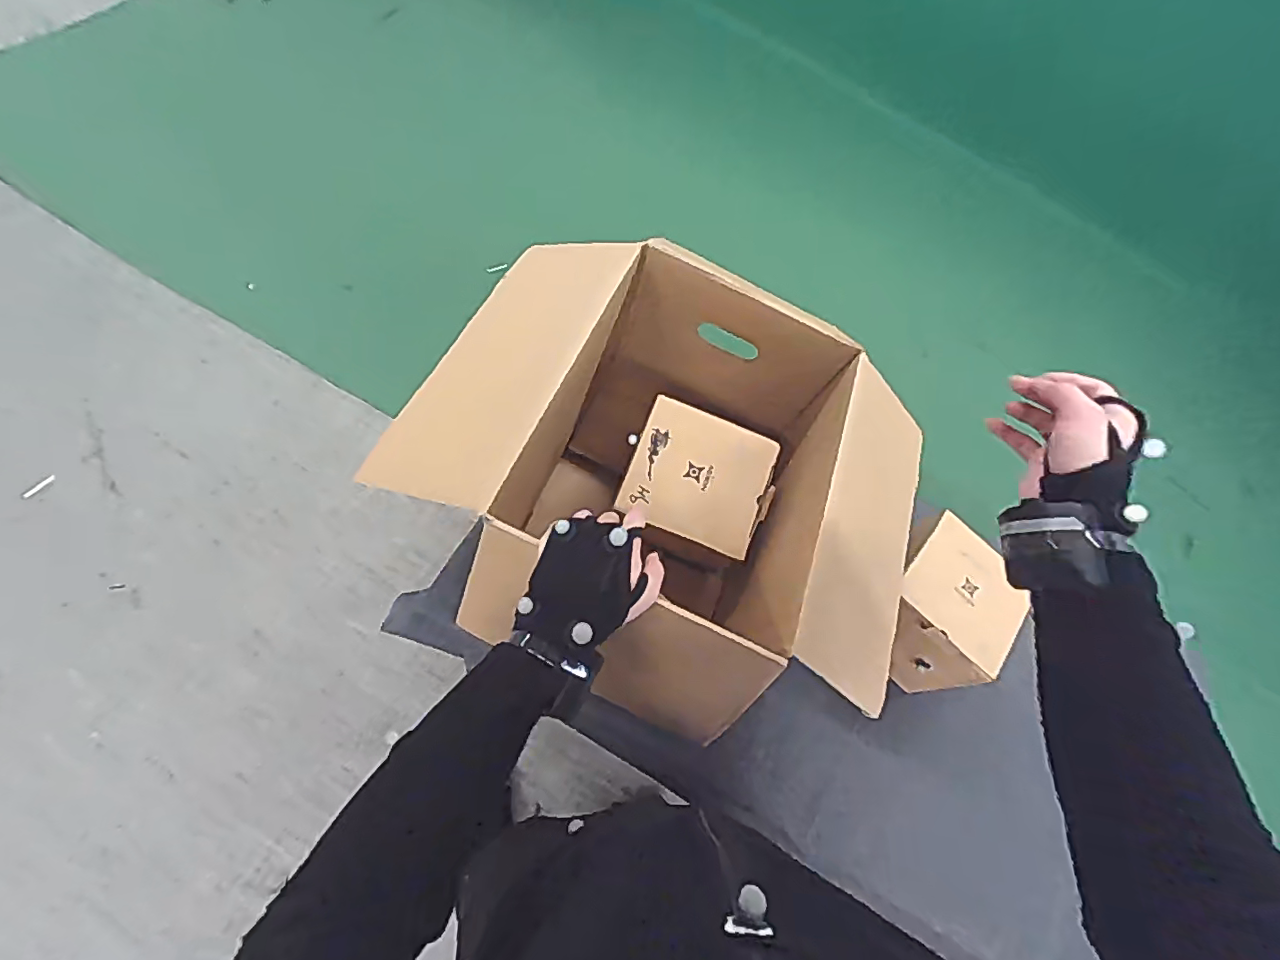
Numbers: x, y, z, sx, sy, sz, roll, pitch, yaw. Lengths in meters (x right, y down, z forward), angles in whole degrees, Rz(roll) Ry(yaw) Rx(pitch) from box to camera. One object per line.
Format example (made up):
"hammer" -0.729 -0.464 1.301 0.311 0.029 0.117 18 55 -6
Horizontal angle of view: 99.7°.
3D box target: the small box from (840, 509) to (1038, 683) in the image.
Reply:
"small box" 0.431 0.180 0.808 0.168 0.176 0.179 45 62 7
